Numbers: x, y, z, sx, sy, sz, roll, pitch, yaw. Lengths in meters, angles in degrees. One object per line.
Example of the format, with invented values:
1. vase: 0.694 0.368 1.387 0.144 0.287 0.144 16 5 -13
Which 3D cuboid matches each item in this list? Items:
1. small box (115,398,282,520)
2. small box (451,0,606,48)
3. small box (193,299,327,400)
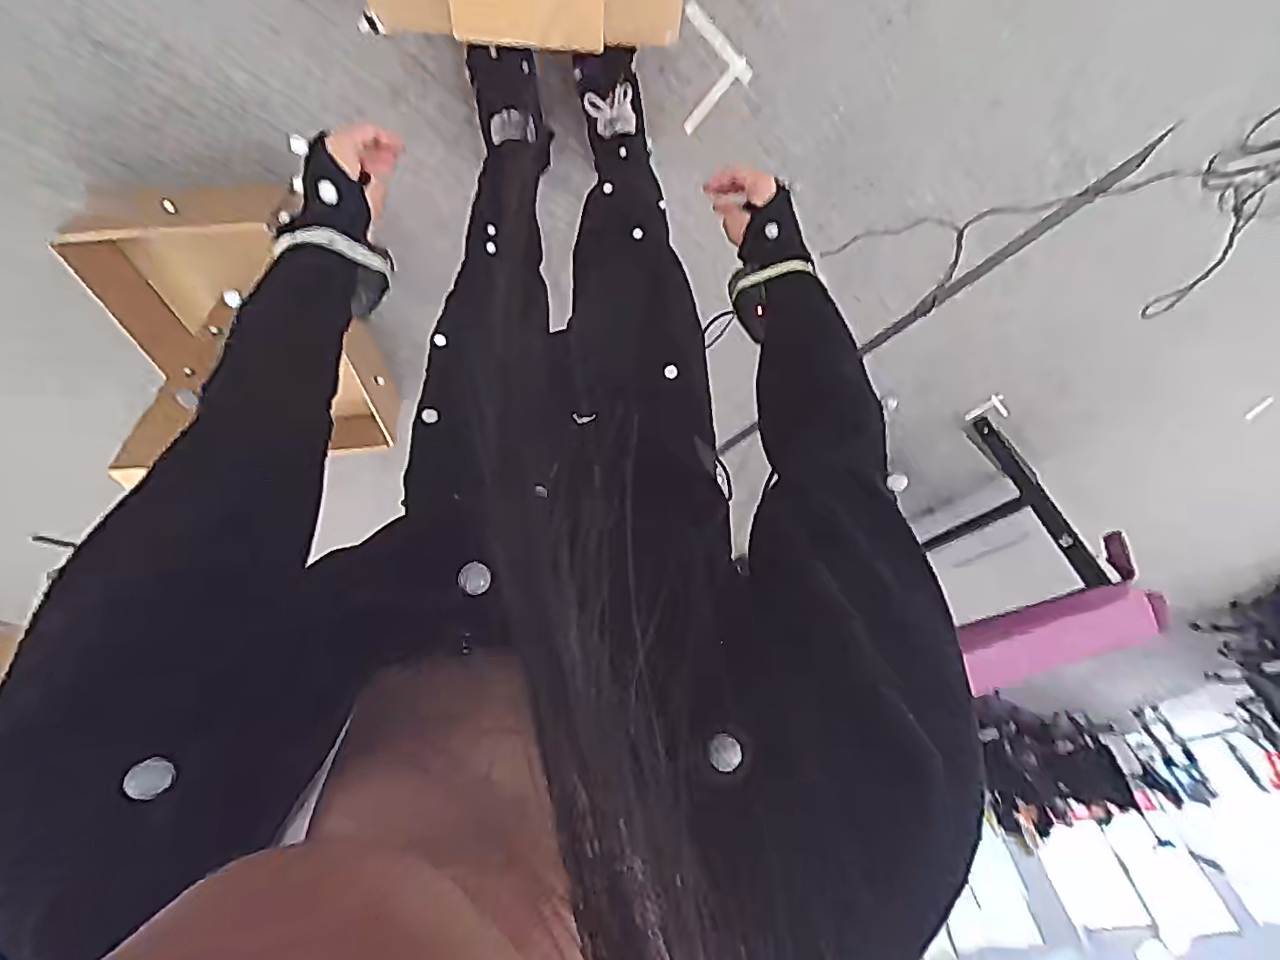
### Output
1. small box: -0.824 -0.042 1.039 0.179 0.176 0.168 -4 142 -4
2. small box: -0.121 -0.604 0.582 0.168 0.176 0.179 -3 141 -9
3. small box: -0.857 -0.298 1.240 0.179 0.176 0.168 -4 142 -7
